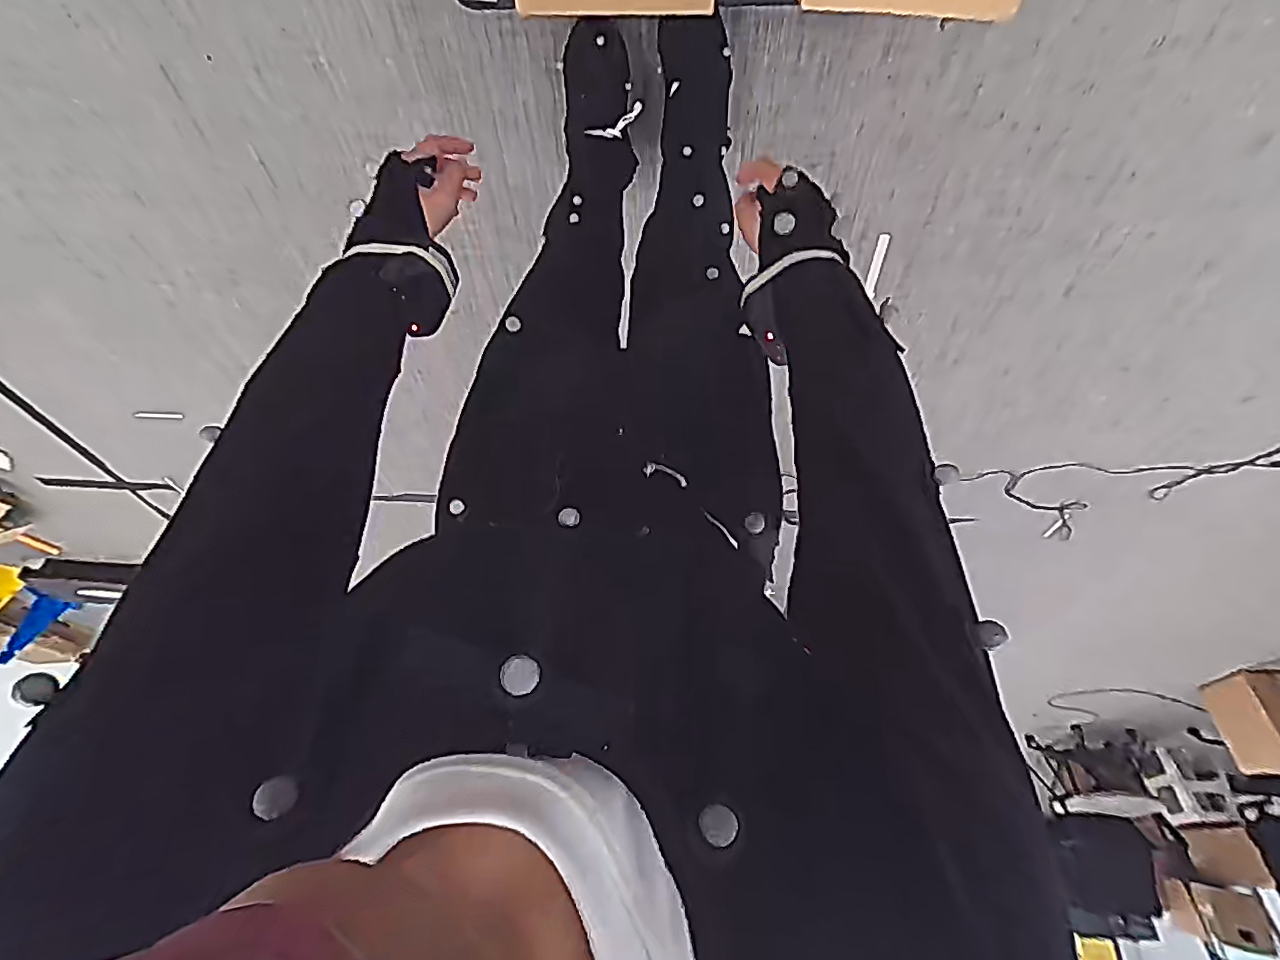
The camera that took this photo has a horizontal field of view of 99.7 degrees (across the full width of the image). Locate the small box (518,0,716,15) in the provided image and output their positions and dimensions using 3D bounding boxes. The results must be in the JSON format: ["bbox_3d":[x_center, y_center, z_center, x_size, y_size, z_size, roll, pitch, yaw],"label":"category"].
[{"bbox_3d":[-0.016,-0.501,0.428,0.168,0.176,0.179,3,142,3],"label":"small box"}]

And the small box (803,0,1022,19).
[{"bbox_3d":[0.222,-0.489,0.421,0.179,0.176,0.168,3,142,1],"label":"small box"}]
